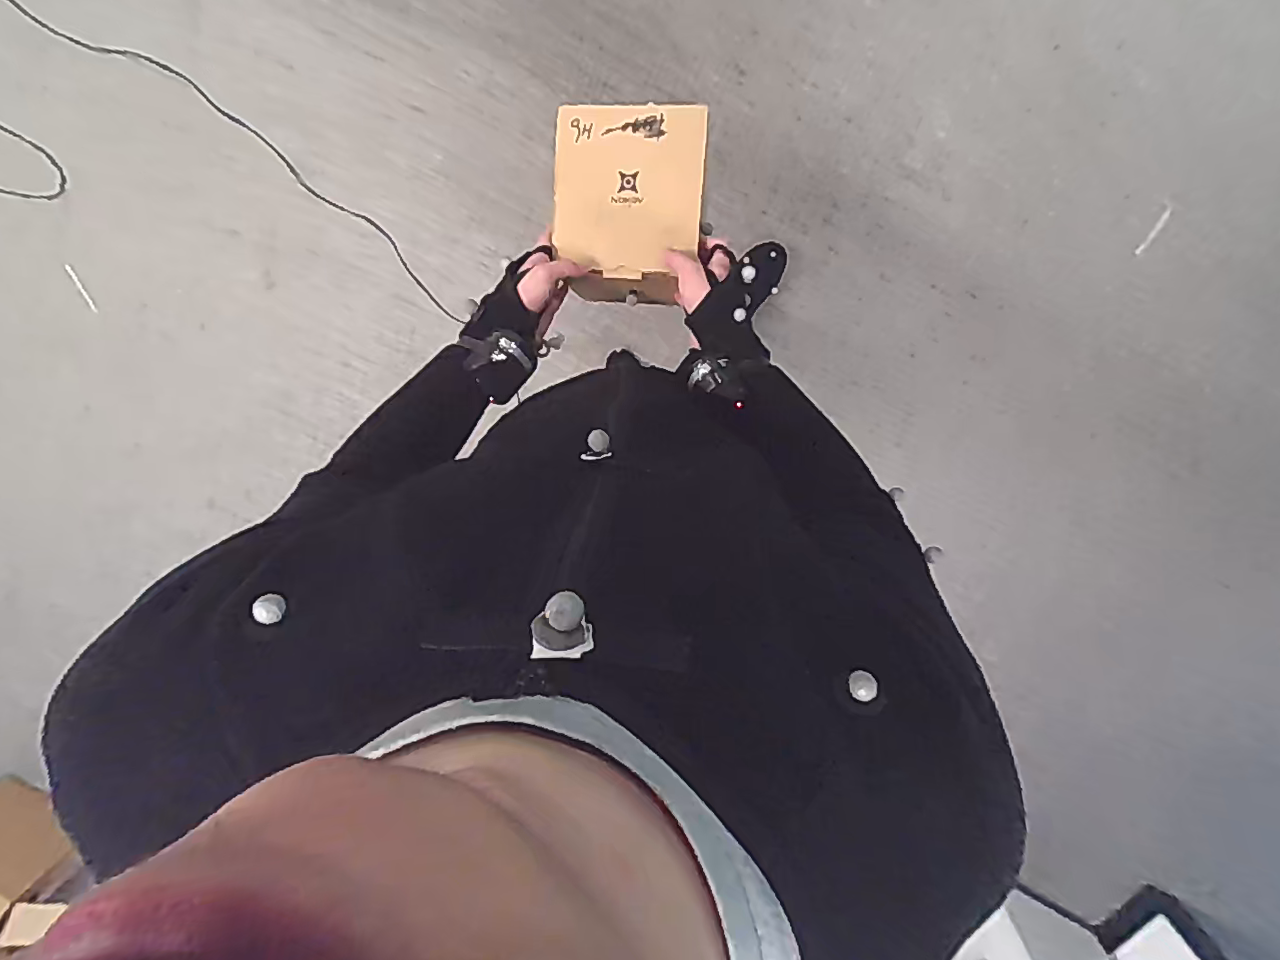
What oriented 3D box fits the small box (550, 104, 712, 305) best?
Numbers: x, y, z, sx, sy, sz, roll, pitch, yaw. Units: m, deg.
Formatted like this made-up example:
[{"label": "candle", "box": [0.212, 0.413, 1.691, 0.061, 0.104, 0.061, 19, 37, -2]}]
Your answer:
[{"label": "small box", "box": [-0.002, -0.315, 0.652, 0.168, 0.176, 0.179, 5, 98, 7]}]
